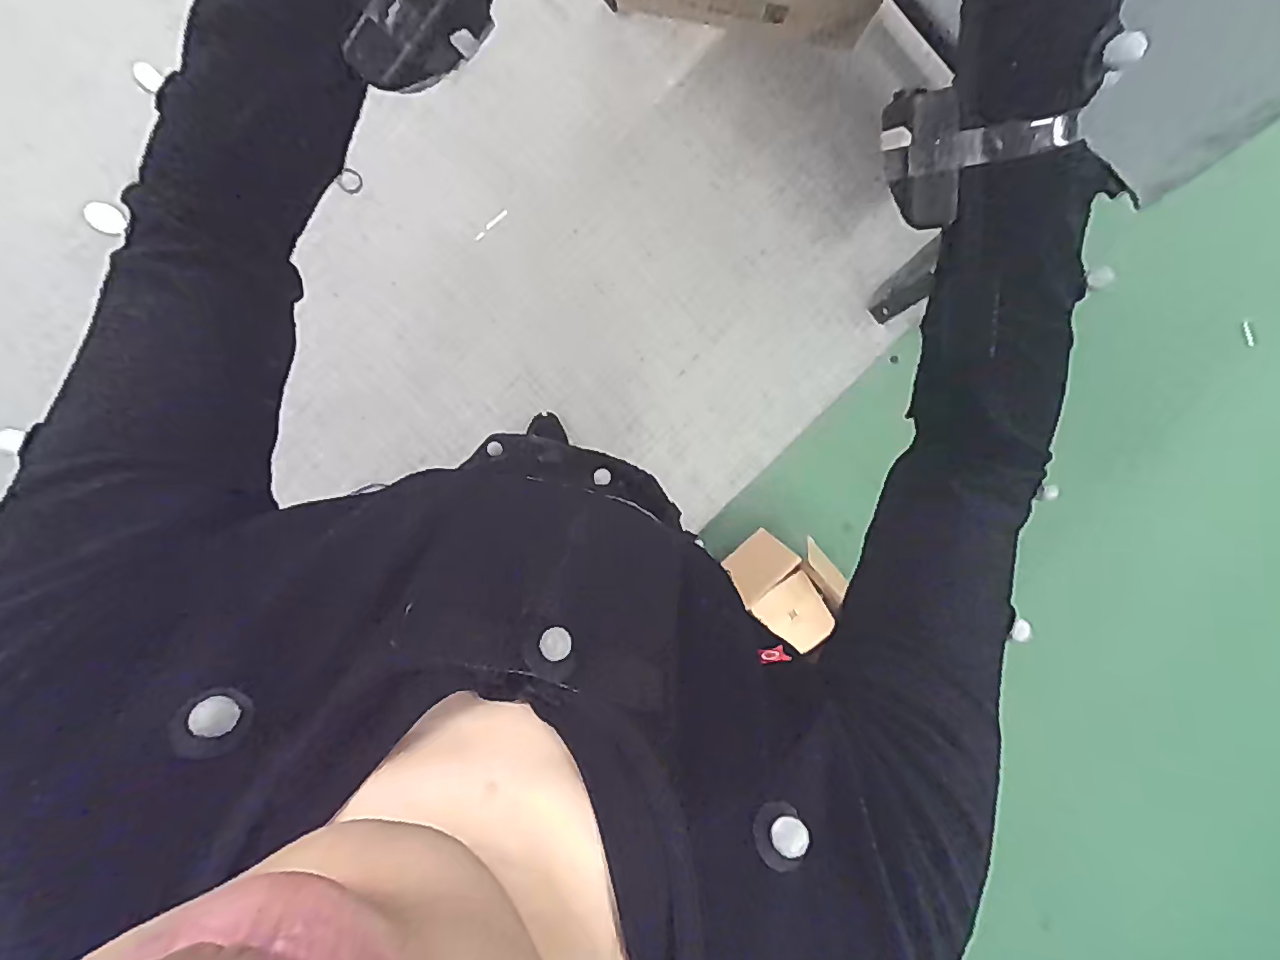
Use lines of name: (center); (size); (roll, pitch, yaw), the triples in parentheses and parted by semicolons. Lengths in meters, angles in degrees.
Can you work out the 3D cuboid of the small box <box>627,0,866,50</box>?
small box: (0.075, -0.387, 0.283); (0.168, 0.176, 0.179); (9, 92, -3)
